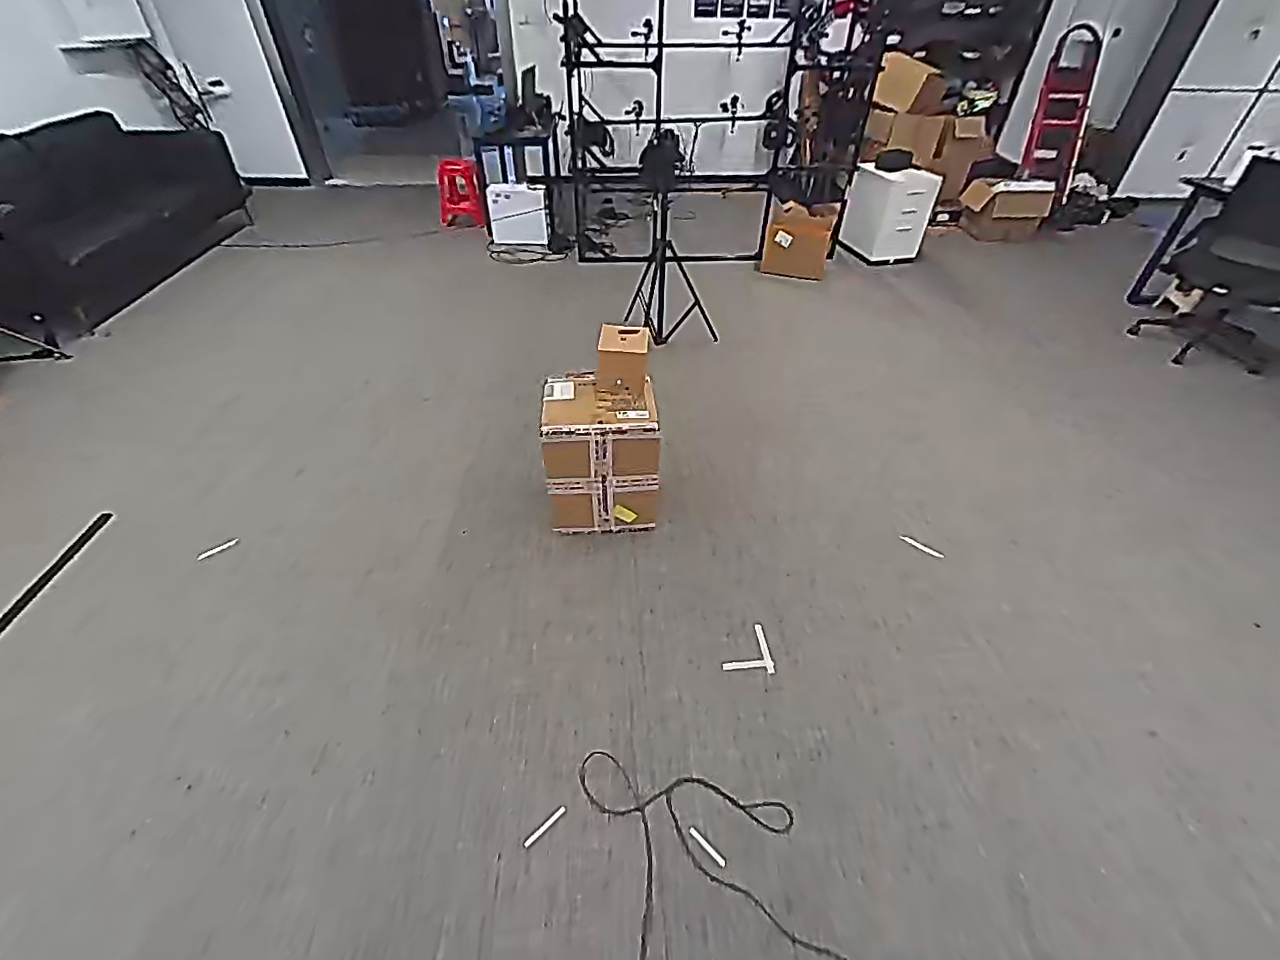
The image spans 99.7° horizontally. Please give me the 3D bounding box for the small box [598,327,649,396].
[{"bbox_3d":[-0.059,-0.417,1.899,0.168,0.176,0.179,4,44,0],"label":"small box"}]
